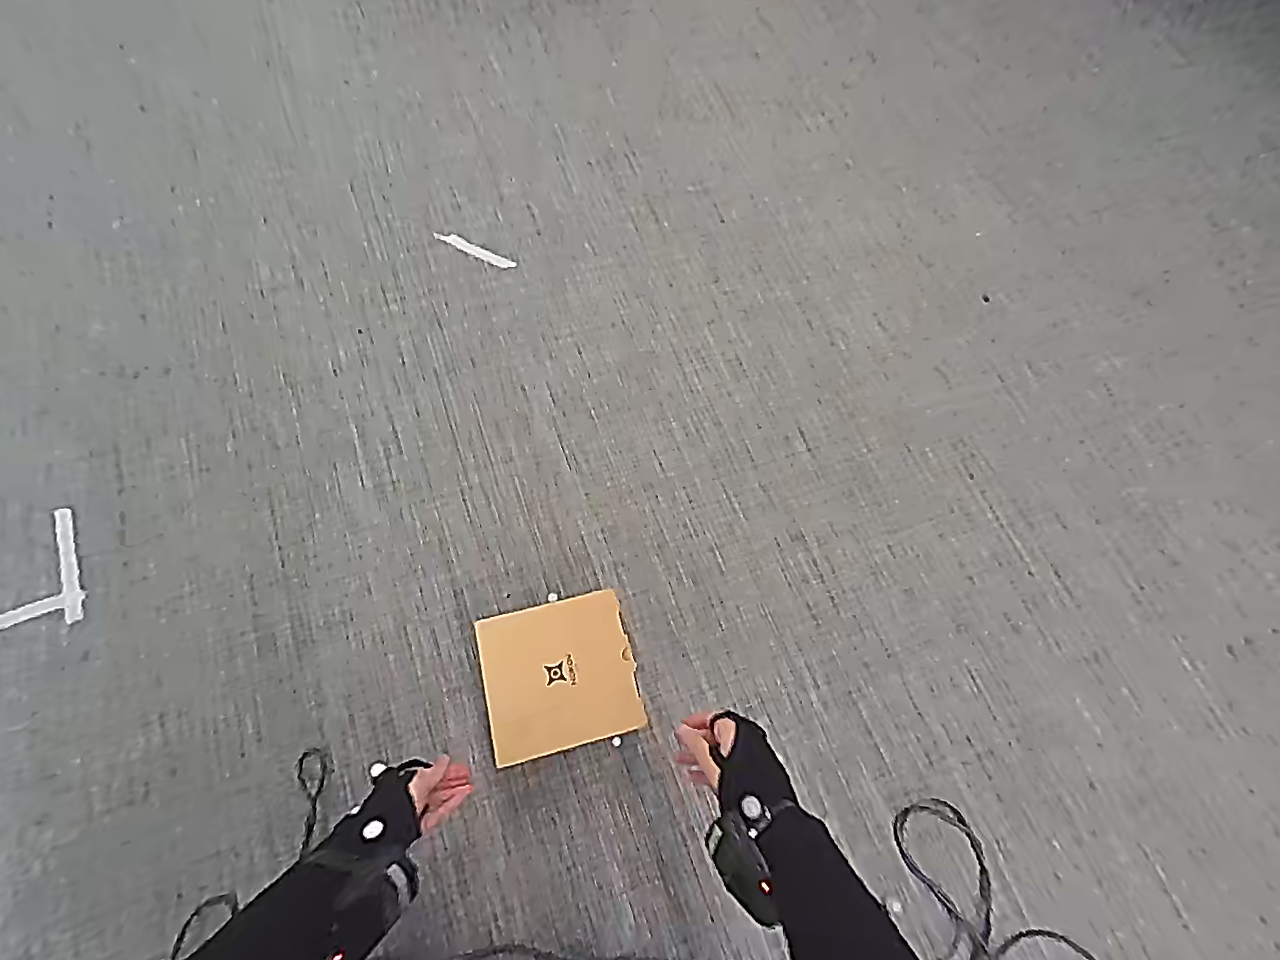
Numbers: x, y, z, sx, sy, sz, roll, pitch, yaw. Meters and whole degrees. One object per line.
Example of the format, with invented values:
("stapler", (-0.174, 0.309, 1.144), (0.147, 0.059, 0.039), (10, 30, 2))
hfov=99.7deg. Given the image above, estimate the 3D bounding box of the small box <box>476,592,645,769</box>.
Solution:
("small box", (-0.102, 0.260, 0.710), (0.179, 0.176, 0.168), (-12, 71, -10))
